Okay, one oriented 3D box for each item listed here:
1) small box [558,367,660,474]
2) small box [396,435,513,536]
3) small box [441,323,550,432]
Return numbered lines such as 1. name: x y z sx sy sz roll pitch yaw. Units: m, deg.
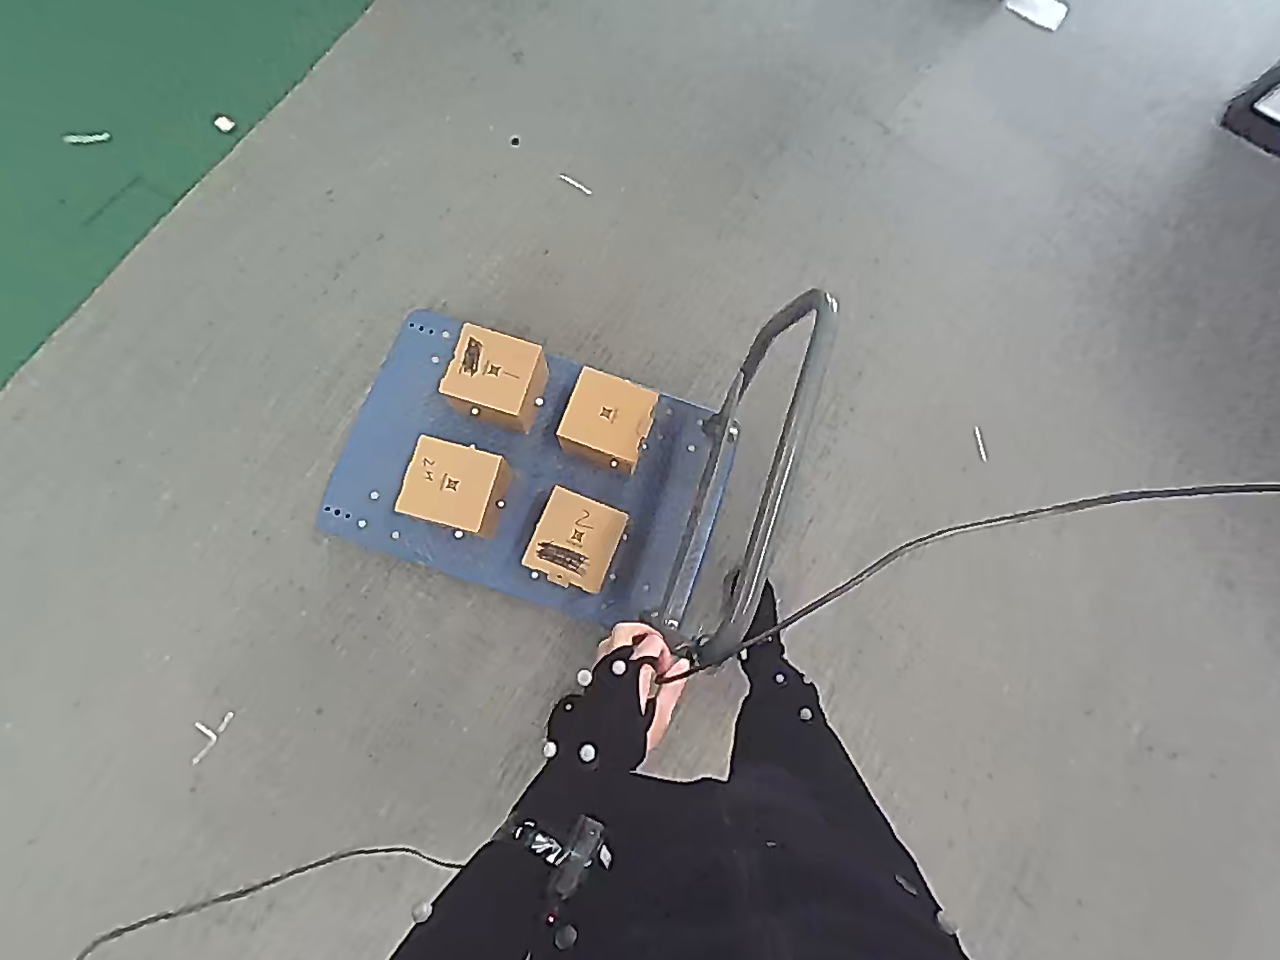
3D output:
1. small box: -0.071 -0.125 1.221 0.179 0.176 0.168 21 79 0
2. small box: -0.389 0.019 1.171 0.179 0.176 0.168 16 78 -1
3. small box: -0.316 -0.222 1.221 0.179 0.176 0.168 17 79 -1
